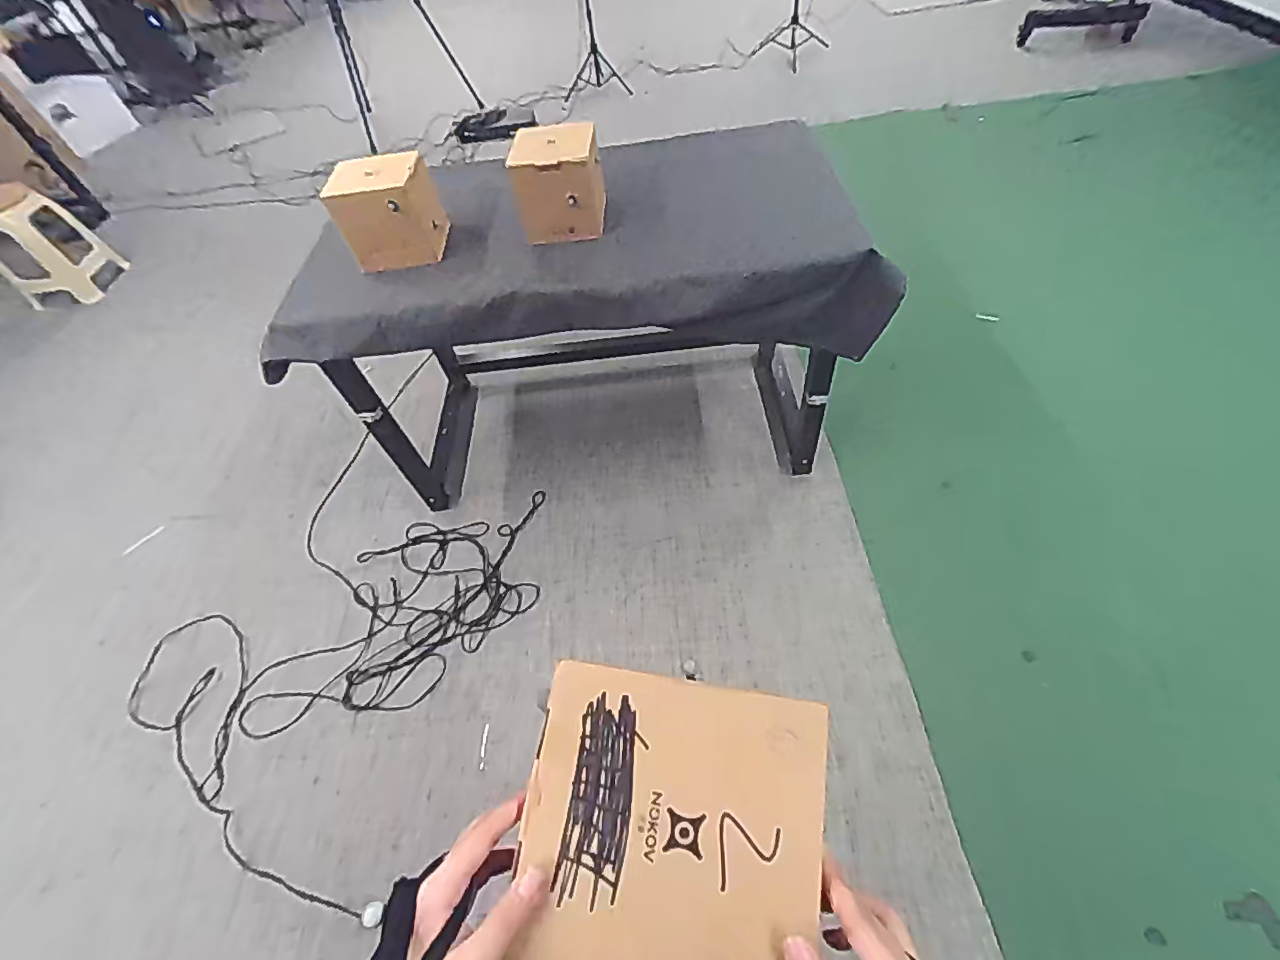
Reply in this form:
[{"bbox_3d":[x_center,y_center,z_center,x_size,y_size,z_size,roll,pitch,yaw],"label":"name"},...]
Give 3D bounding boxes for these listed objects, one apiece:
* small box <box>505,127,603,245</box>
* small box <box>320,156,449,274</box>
[{"bbox_3d":[-0.173,-0.620,1.155,0.168,0.176,0.179,-2,52,4],"label":"small box"},{"bbox_3d":[-0.536,-0.562,1.159,0.179,0.176,0.168,-7,52,1],"label":"small box"}]
